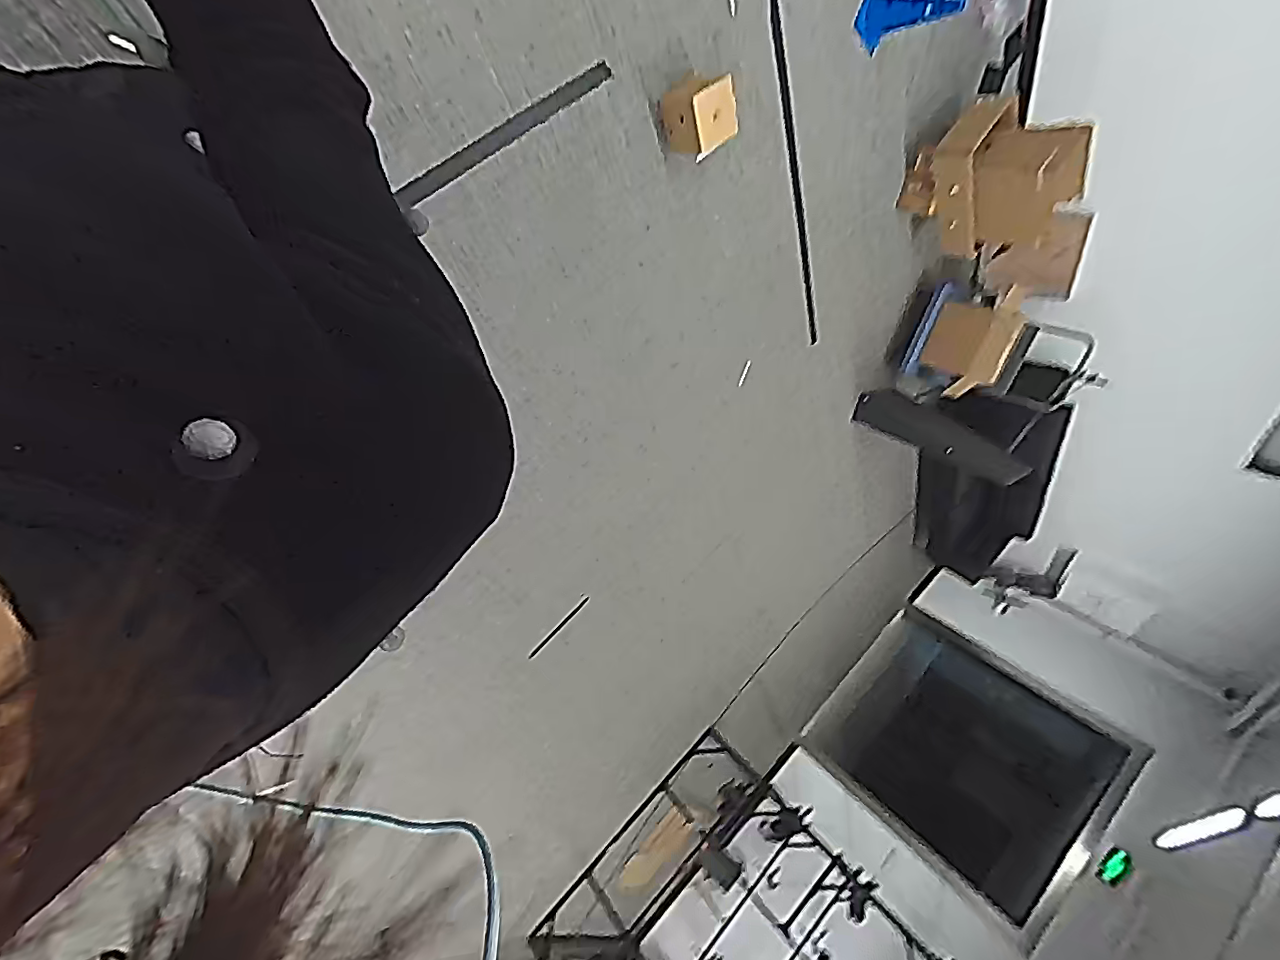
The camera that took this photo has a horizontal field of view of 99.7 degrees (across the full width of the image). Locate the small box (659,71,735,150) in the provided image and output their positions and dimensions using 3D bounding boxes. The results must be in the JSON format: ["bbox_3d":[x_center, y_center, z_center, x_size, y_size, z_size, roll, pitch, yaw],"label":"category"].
[{"bbox_3d":[0.181,-1.204,1.767,0.179,0.176,0.168,-42,138,-17],"label":"small box"}]
